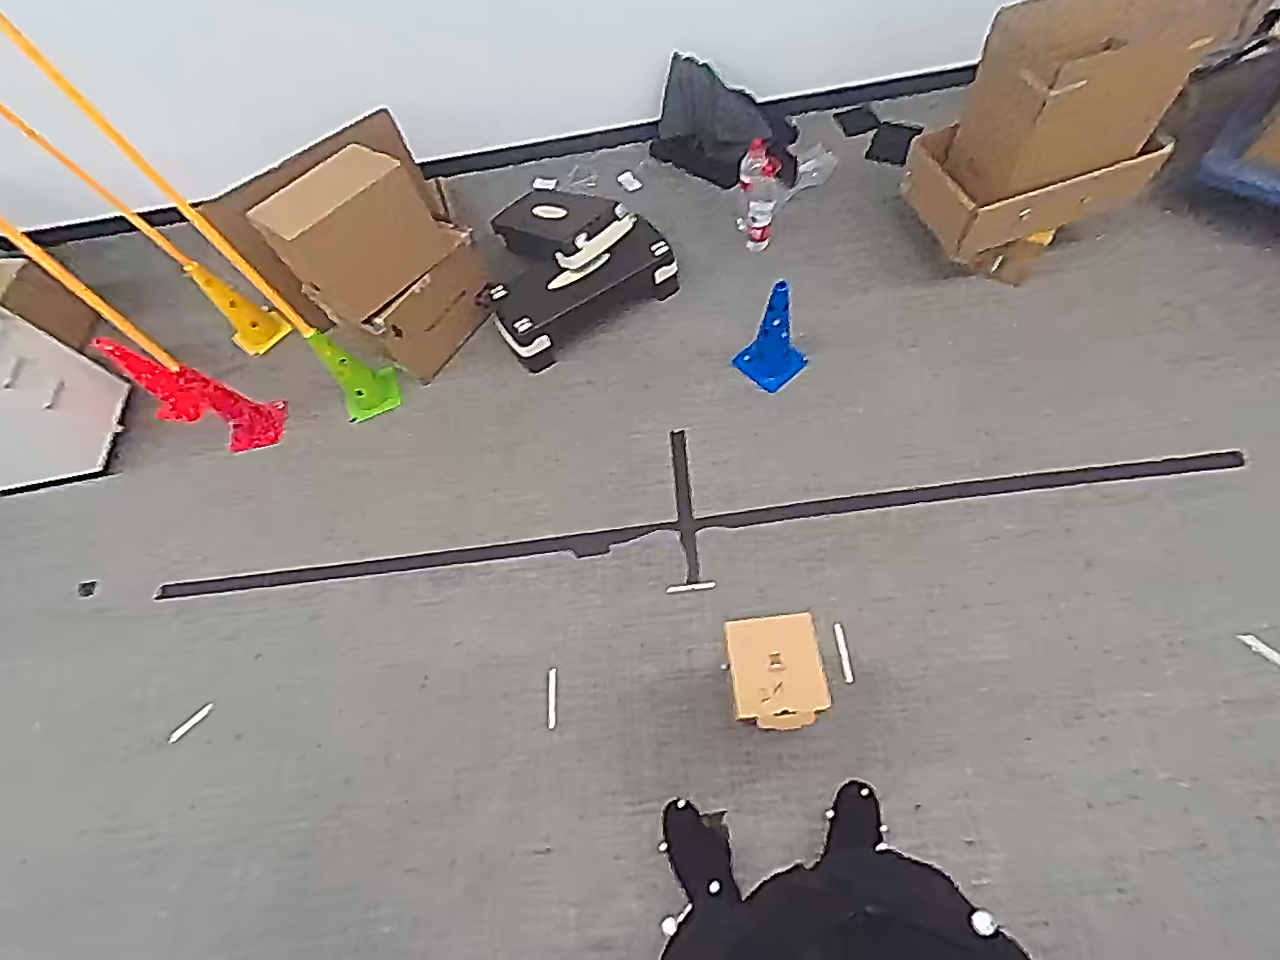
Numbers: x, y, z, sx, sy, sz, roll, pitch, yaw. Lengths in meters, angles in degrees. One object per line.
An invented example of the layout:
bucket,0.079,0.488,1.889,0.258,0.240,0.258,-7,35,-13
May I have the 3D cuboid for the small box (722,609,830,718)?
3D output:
small box,0.257,0.366,1.068,0.168,0.176,0.179,-7,64,4
